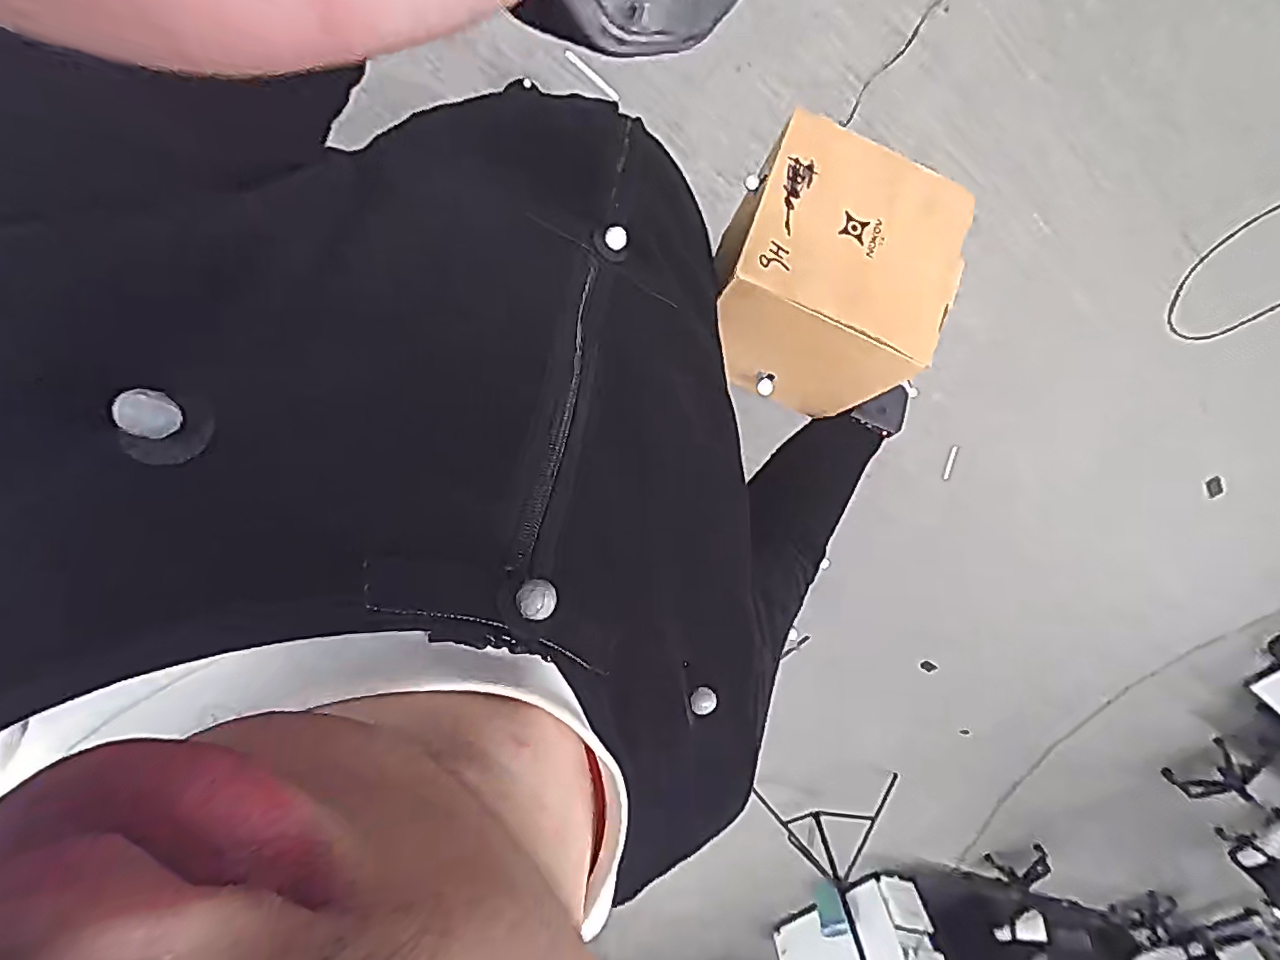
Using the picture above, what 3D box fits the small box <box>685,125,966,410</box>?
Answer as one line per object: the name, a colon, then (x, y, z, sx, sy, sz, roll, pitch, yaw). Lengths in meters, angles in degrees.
small box: (0.167, -0.184, 0.529, 0.179, 0.176, 0.168, 22, 77, -7)
